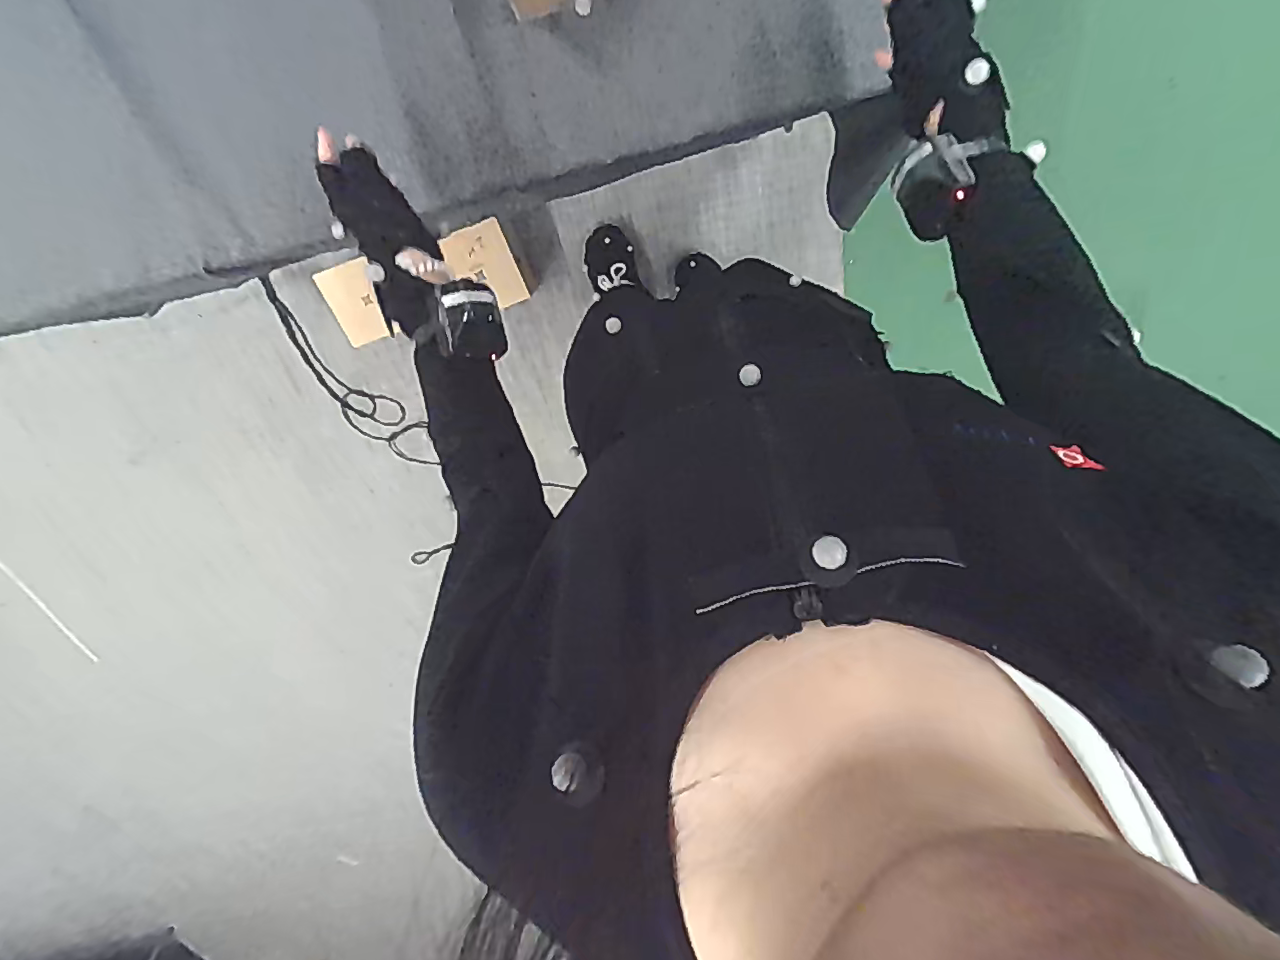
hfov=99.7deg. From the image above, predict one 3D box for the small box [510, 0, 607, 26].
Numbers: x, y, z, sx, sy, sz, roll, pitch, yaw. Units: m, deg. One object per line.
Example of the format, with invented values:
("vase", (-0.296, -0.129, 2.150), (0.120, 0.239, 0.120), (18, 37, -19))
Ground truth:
("small box", (-0.061, -0.503, 0.418), (0.168, 0.176, 0.179), (-16, 118, 5))
